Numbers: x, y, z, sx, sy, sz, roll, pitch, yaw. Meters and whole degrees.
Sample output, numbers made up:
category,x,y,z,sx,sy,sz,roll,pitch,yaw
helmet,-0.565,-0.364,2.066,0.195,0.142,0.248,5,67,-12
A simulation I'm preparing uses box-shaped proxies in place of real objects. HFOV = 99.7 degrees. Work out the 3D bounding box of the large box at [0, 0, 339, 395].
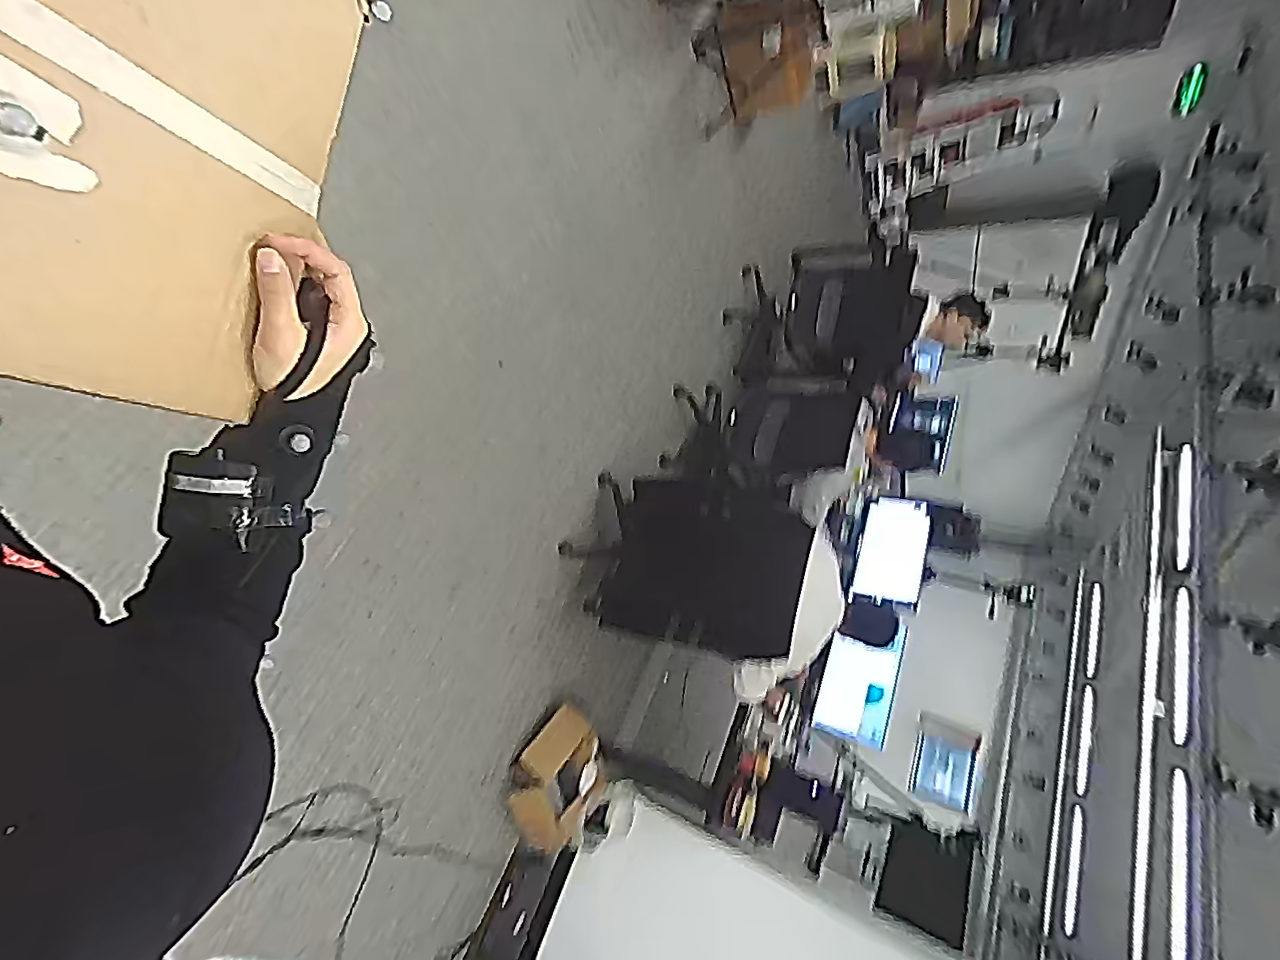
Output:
category,x,y,z,sx,sy,sz,roll,pitch,yaw
large box,-0.443,-0.249,0.245,0.408,0.320,0.320,14,89,-67
